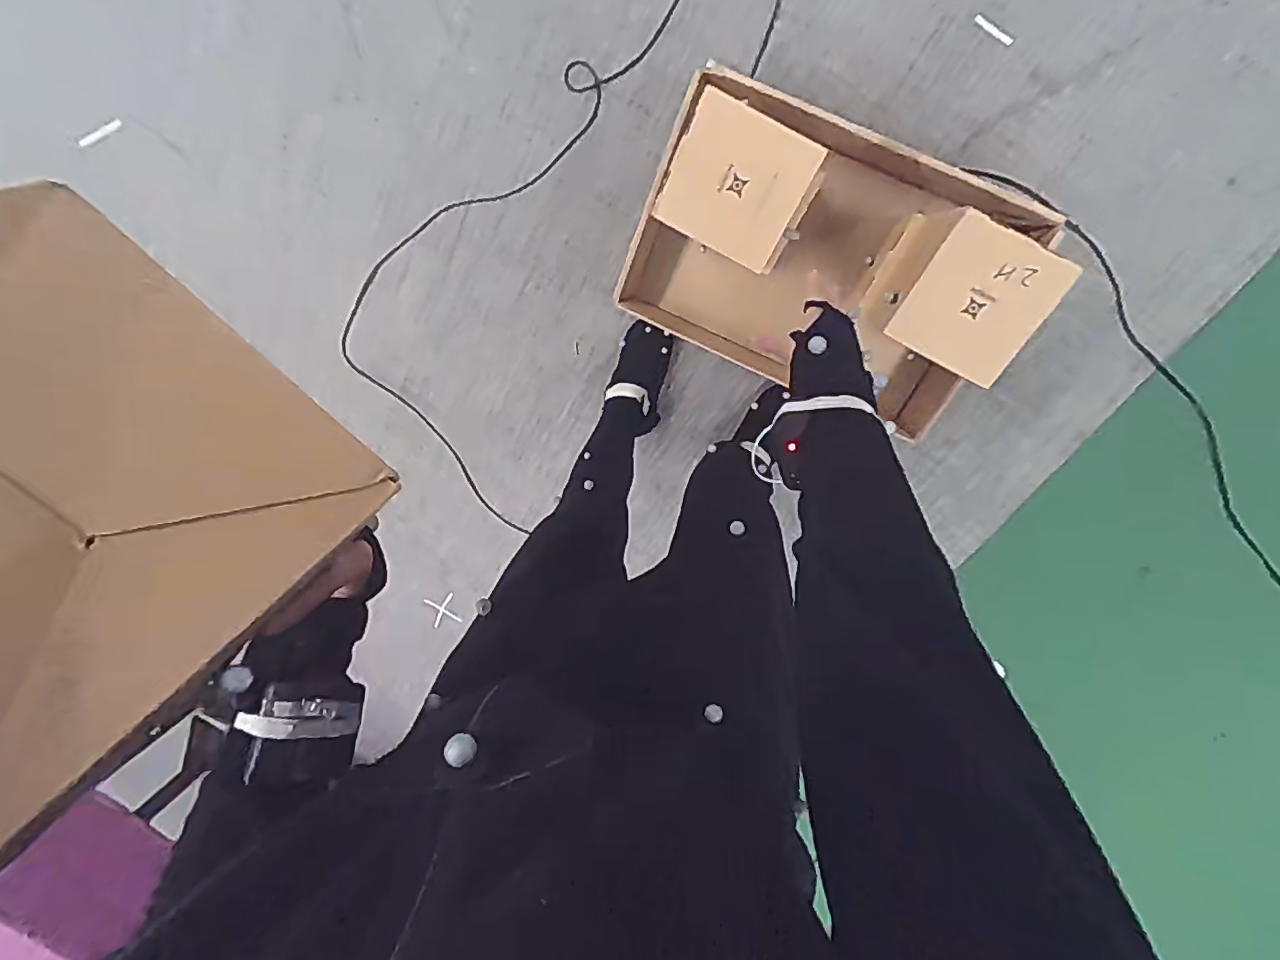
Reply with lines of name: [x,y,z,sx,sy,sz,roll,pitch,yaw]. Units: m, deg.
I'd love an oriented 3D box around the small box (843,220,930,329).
small box: [0.474,-0.318,0.929,0.179,0.176,0.168,30,115,0]

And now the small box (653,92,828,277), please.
small box: [0.143,-0.413,0.786,0.179,0.176,0.168,29,116,-1]

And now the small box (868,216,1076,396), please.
small box: [0.453,-0.250,0.779,0.168,0.176,0.179,29,114,-1]
